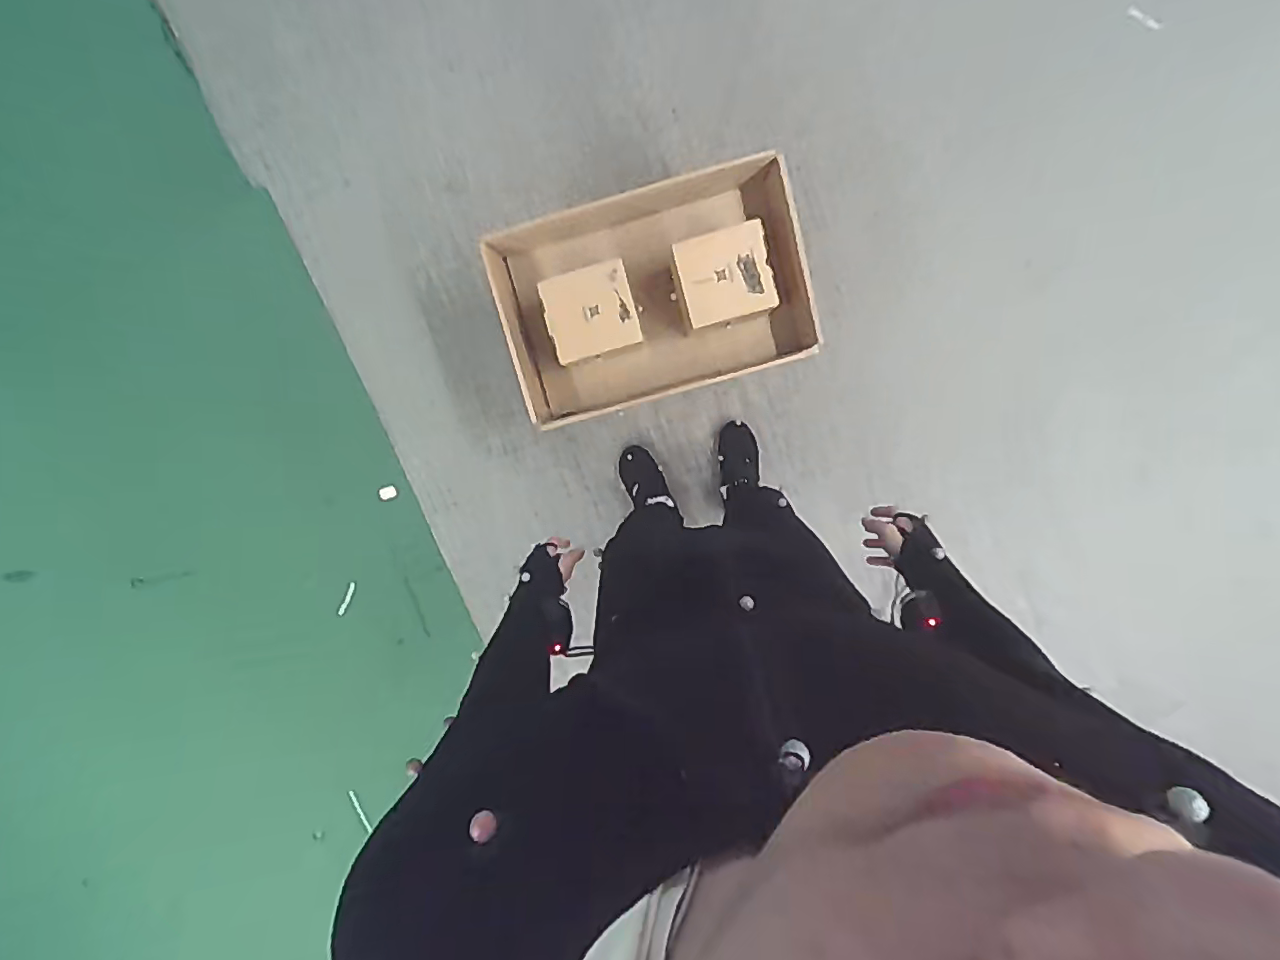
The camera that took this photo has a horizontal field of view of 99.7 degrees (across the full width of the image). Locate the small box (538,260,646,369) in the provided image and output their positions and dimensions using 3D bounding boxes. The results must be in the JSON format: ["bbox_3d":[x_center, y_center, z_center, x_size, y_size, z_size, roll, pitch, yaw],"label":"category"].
[{"bbox_3d":[-0.091,-0.336,1.134,0.179,0.176,0.168,-15,97,5],"label":"small box"}]
